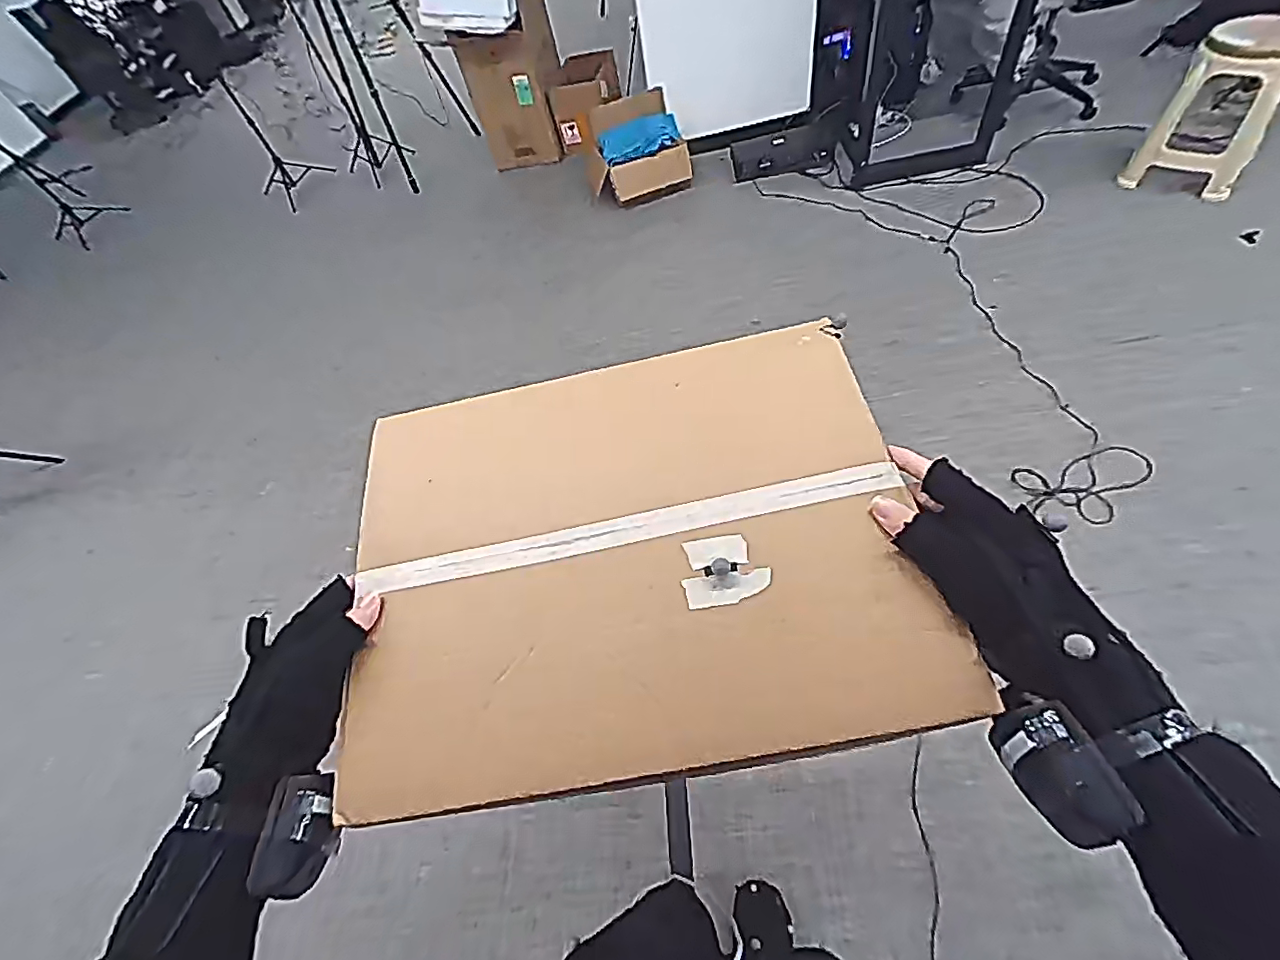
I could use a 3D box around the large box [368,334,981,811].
[{"bbox_3d":[0.015,0.112,0.540,0.408,0.320,0.320,-12,61,3],"label":"large box"}]
